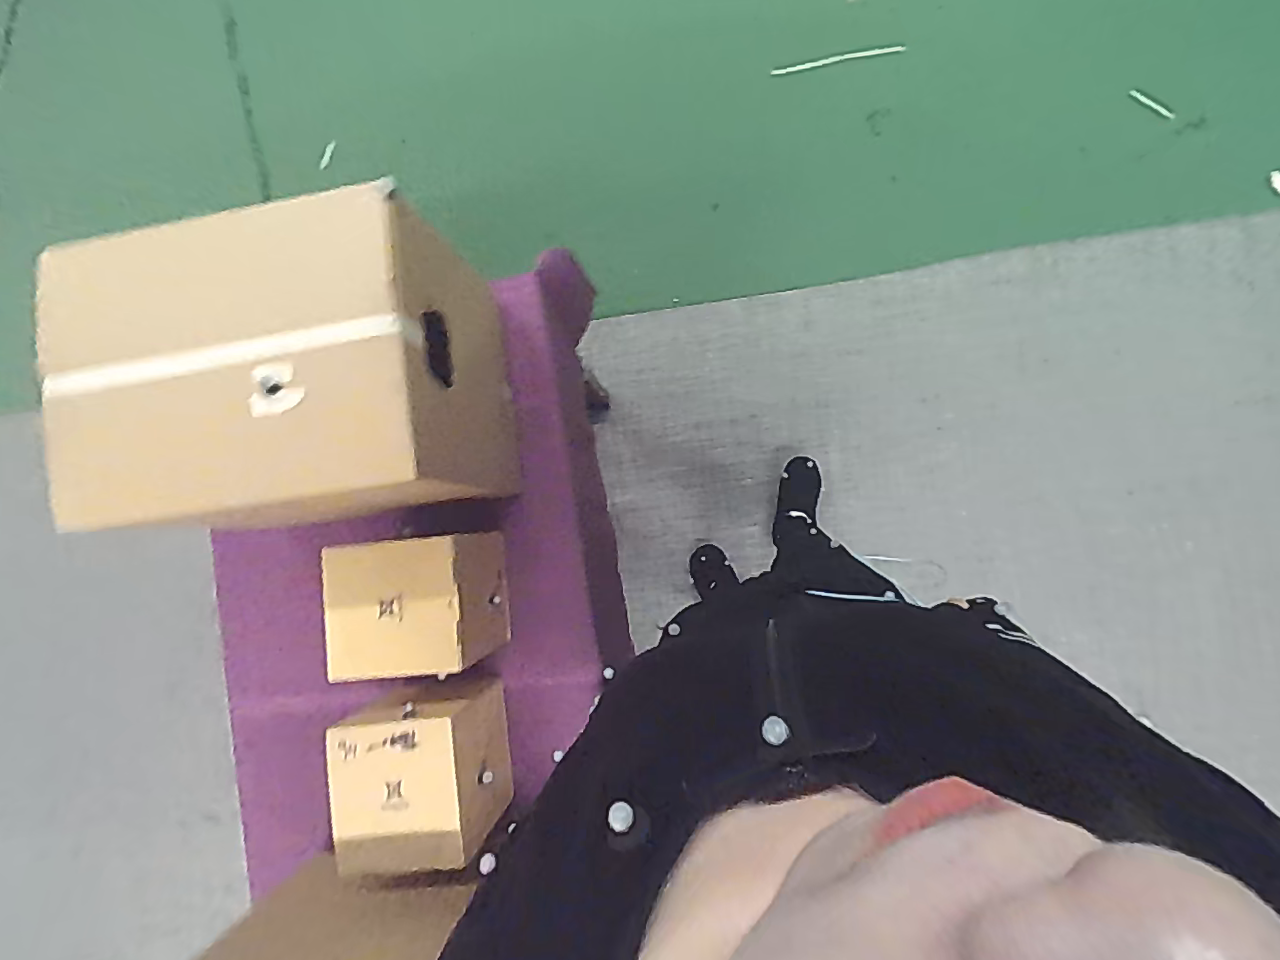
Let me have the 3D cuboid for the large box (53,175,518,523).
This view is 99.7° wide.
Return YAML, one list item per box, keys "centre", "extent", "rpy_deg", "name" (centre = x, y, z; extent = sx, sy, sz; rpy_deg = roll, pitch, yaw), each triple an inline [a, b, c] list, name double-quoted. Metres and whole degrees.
- centre: [-0.413, -0.124, 0.708]
  extent: [0.408, 0.320, 0.320]
  rpy_deg: [-8, 85, 4]
  name: "large box"
